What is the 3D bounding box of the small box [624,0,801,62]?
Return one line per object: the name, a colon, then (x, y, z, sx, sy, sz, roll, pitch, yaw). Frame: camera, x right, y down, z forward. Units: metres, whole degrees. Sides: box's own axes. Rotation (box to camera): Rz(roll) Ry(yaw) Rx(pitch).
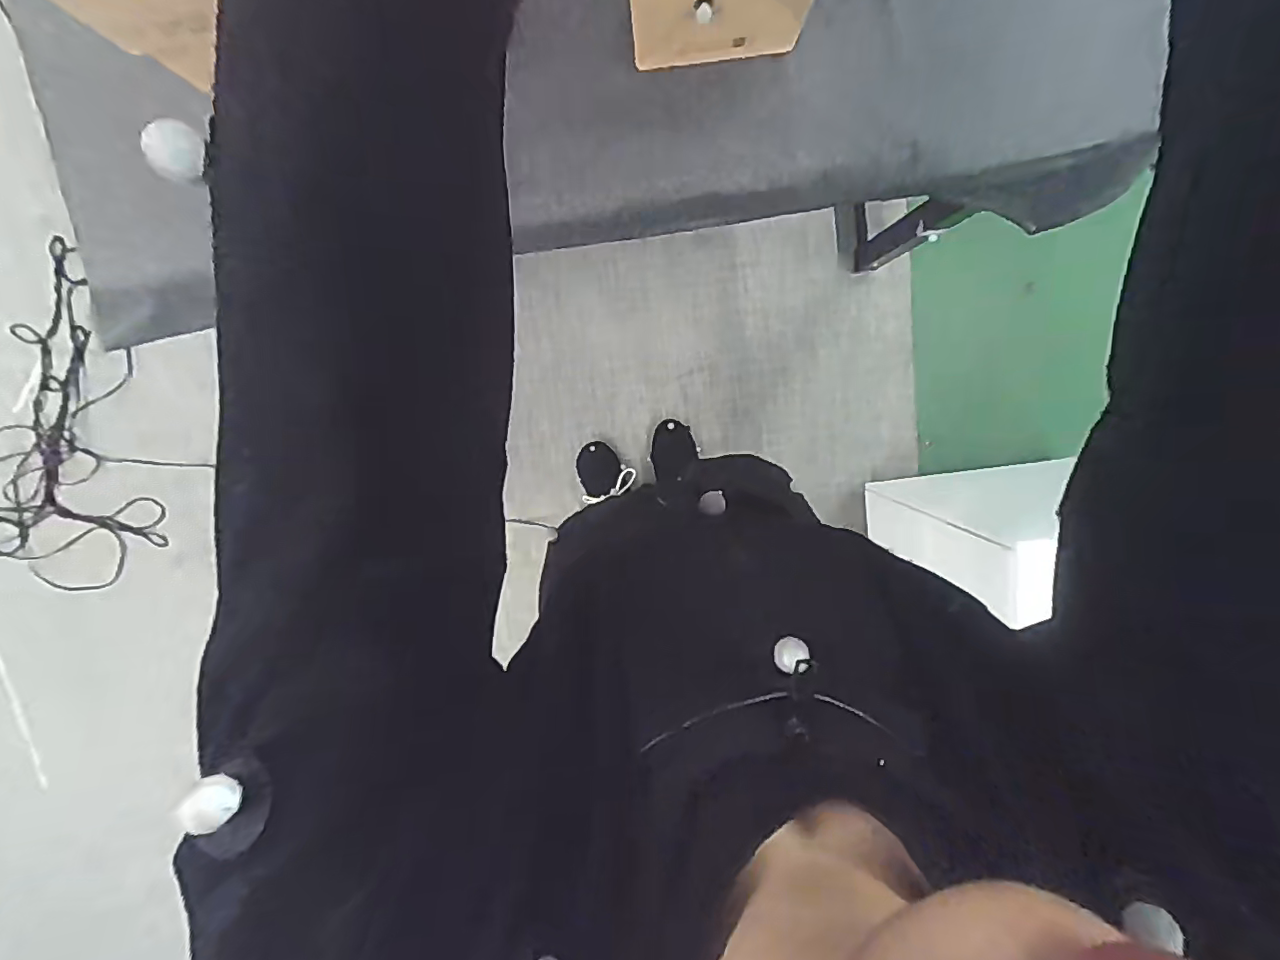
small box: (0.064, -0.511, 0.480, 0.168, 0.176, 0.179, -6, 98, 1)
